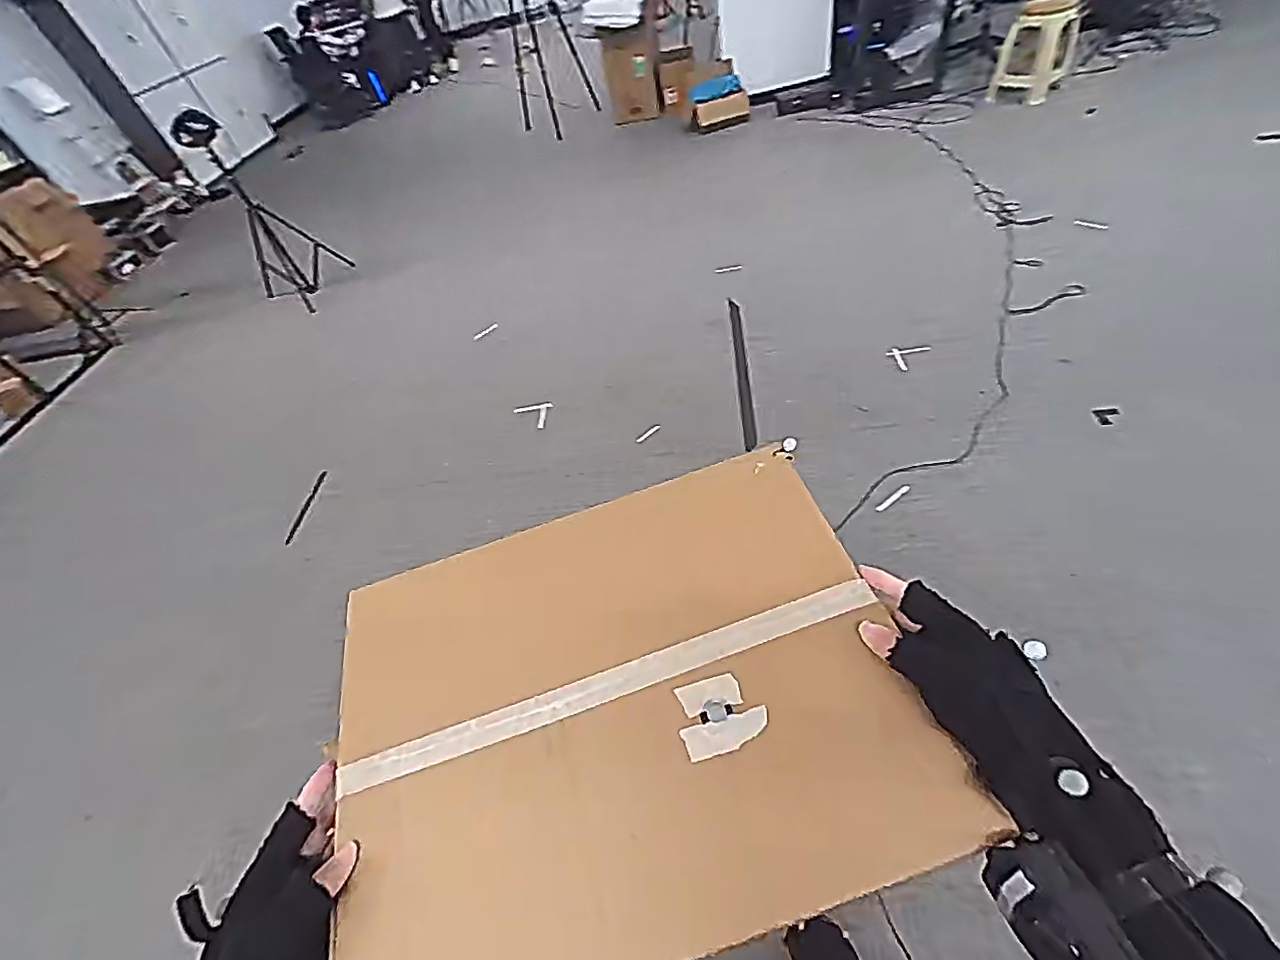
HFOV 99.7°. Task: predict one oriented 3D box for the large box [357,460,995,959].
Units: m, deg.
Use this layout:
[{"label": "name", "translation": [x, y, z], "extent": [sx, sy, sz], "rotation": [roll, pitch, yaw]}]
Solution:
[{"label": "large box", "translation": [0.010, 0.245, 0.519], "extent": [0.408, 0.320, 0.320], "rotation": [-18, 53, -2]}]
